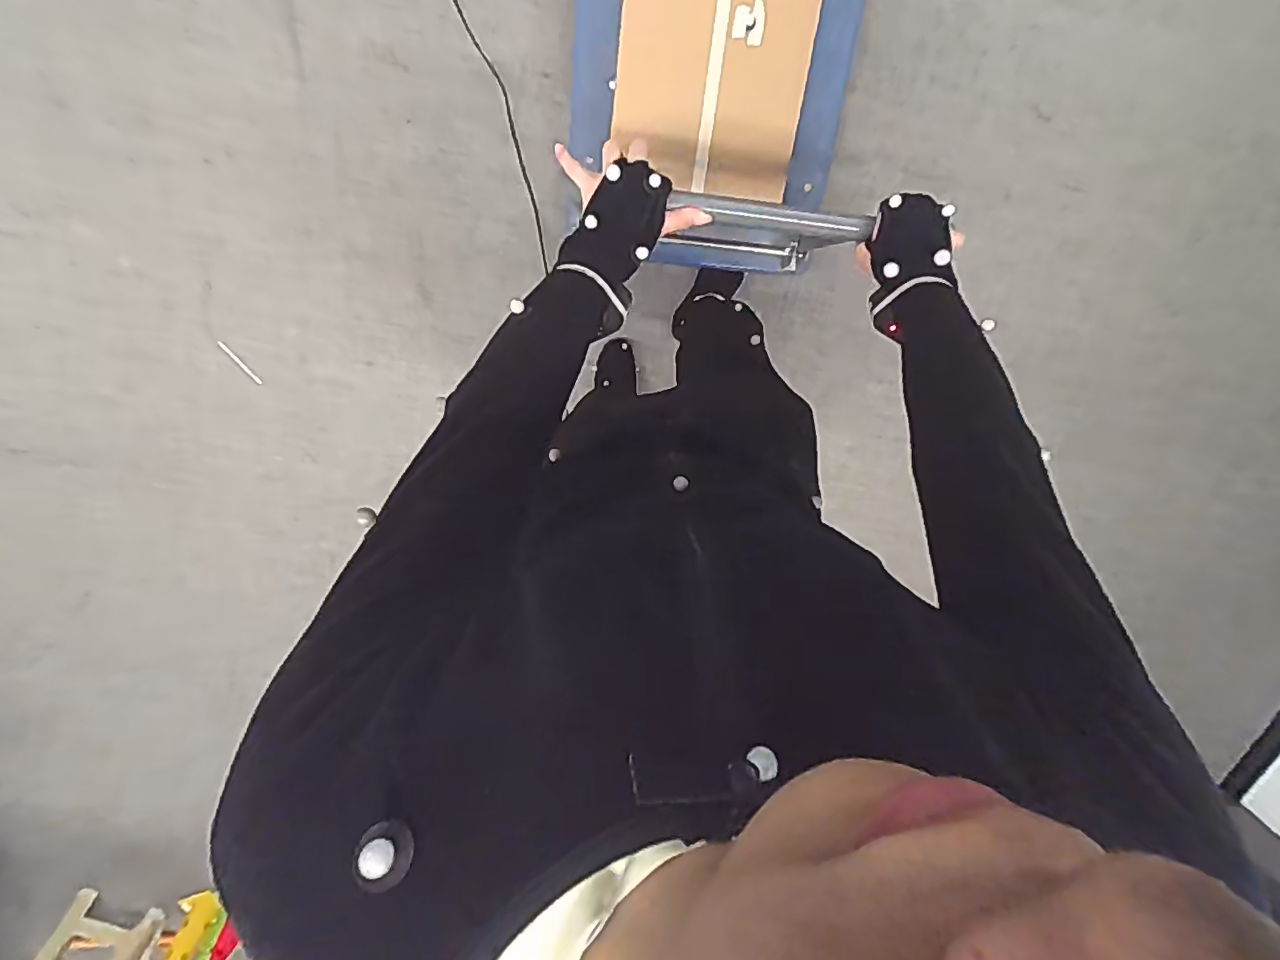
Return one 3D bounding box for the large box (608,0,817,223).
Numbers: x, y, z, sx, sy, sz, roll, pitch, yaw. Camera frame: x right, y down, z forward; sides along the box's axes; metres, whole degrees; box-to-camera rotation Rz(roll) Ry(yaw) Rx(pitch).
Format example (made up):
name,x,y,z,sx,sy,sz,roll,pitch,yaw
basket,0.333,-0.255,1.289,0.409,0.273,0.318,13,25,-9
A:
name,x,y,z,sx,sy,sz,roll,pitch,yaw
large box,0.113,-0.730,1.024,0.320,0.320,0.408,5,111,-5
